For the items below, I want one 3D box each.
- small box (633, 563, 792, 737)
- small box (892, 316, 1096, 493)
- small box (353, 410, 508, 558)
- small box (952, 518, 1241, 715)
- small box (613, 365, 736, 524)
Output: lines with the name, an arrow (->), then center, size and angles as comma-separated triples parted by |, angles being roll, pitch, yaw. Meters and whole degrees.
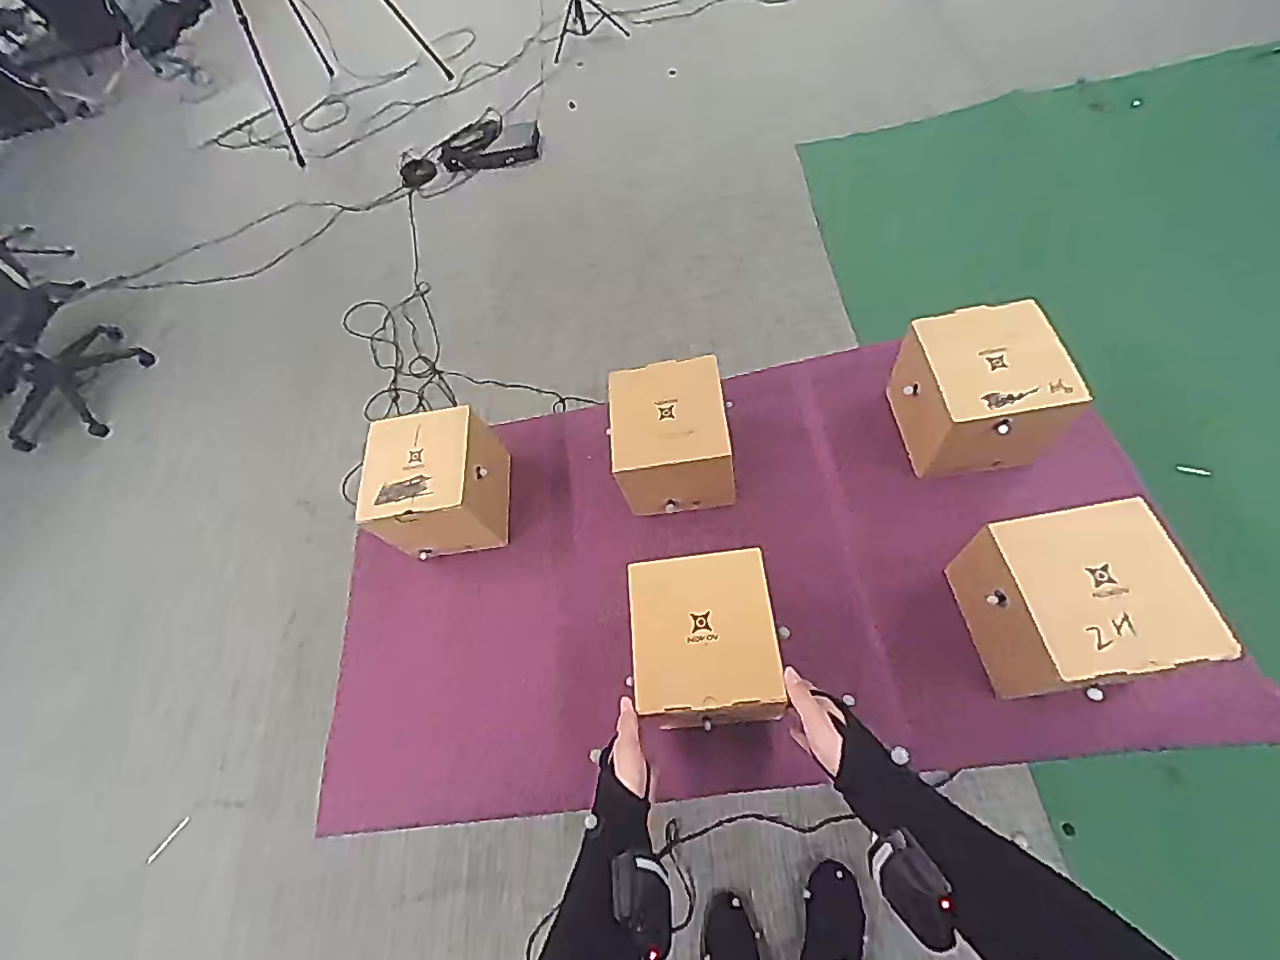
small box -> 0.086, 0.221, 0.683 | 0.168, 0.176, 0.179 | -7, 62, 6
small box -> 0.484, -0.102, 0.778 | 0.168, 0.176, 0.179 | -8, 62, 7
small box -> -0.317, 0.016, 0.856 | 0.168, 0.176, 0.179 | -8, 63, 5
small box -> 0.500, 0.167, 0.633 | 0.168, 0.176, 0.179 | -10, 62, 6
small box -> 0.055, -0.048, 0.828 | 0.168, 0.176, 0.179 | -7, 63, 7
